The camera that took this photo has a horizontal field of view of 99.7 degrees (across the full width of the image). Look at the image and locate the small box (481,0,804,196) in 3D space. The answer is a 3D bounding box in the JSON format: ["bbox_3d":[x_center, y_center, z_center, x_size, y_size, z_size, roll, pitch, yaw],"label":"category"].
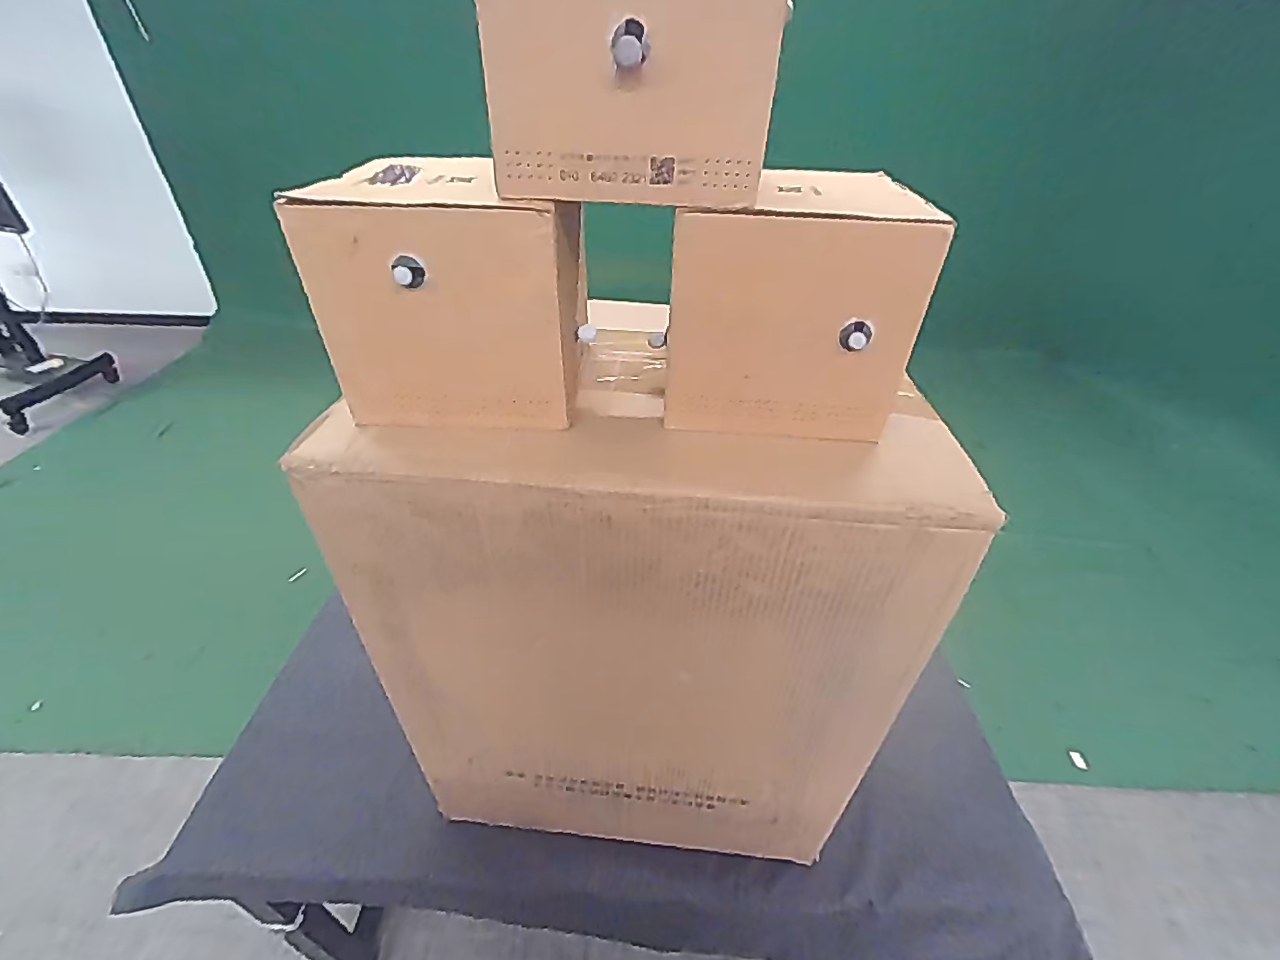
[{"bbox_3d":[-0.002,-0.302,0.367,0.179,0.176,0.168,-18,42,-21],"label":"small box"}]

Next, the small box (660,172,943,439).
[{"bbox_3d":[0.111,-0.148,0.454,0.179,0.176,0.168,3,38,4],"label":"small box"}]

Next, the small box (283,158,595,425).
[{"bbox_3d":[-0.140,-0.160,0.456,0.179,0.176,0.168,4,41,5],"label":"small box"}]
